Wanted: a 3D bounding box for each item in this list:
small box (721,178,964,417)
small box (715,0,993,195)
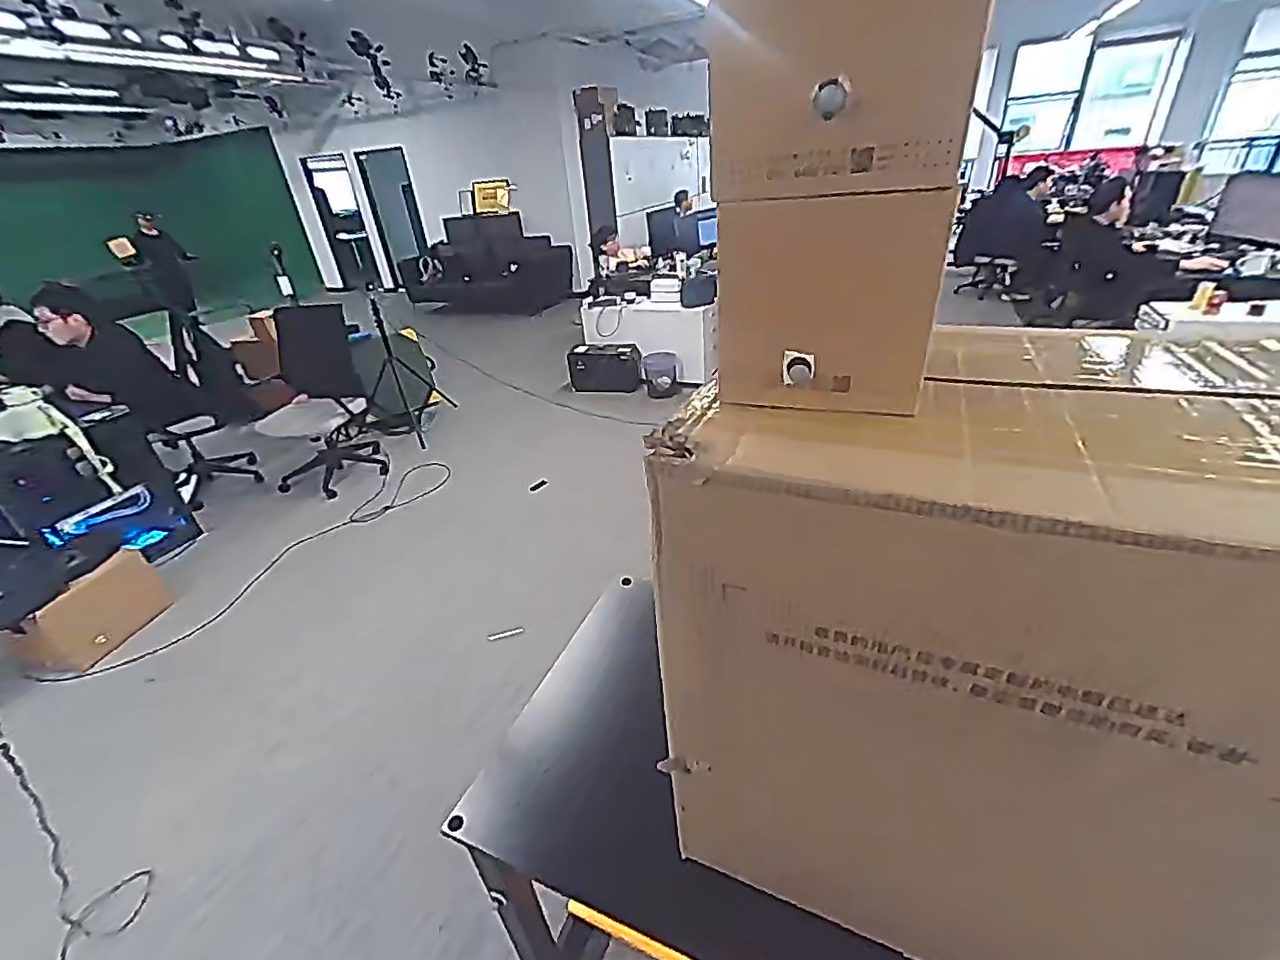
[{"bbox_3d":[0.169,-0.171,0.485,0.168,0.176,0.179,5,34,18],"label":"small box"},{"bbox_3d":[0.152,-0.312,0.399,0.168,0.176,0.179,7,33,20],"label":"small box"}]
